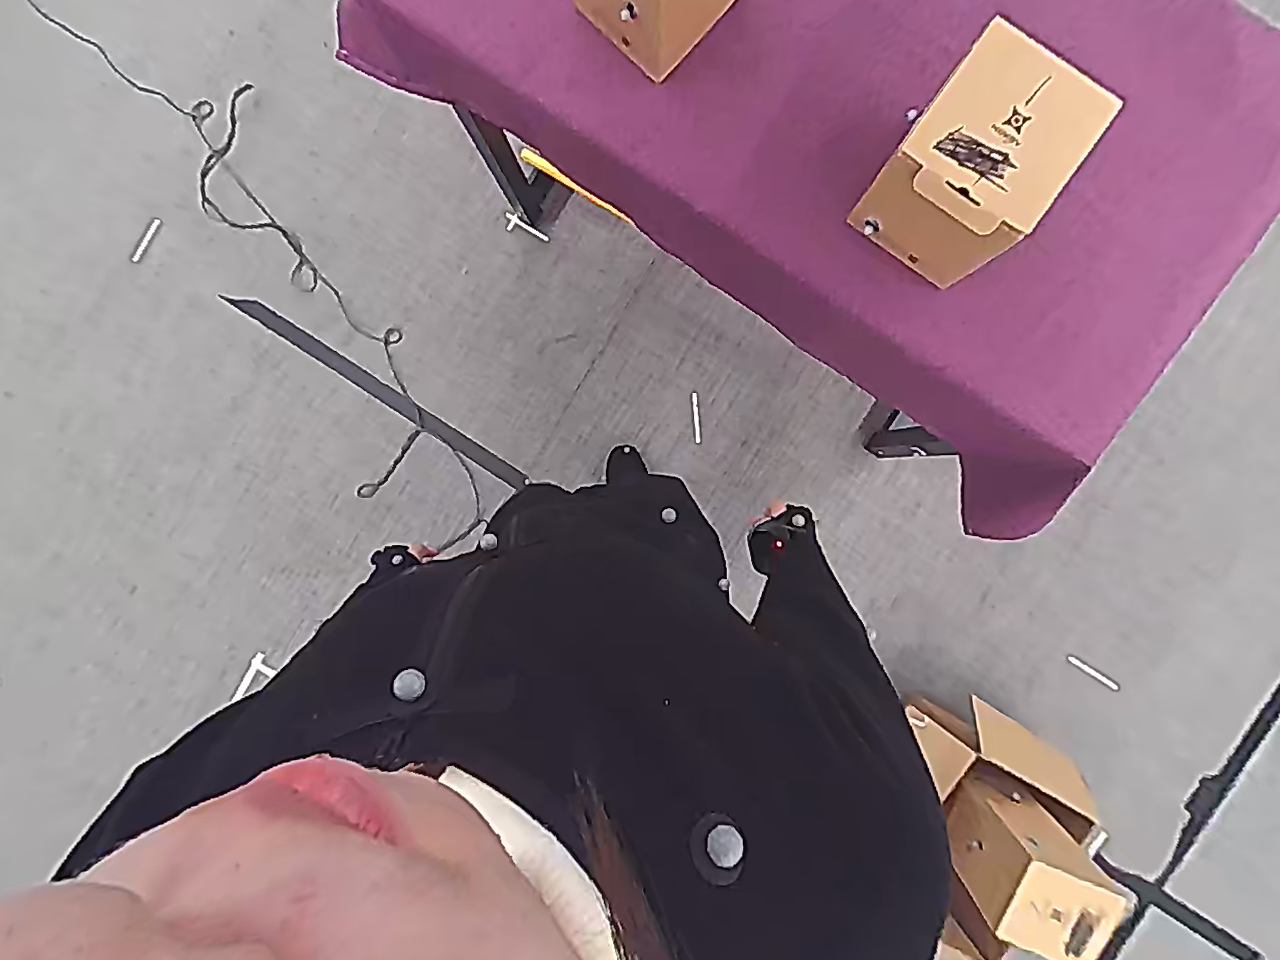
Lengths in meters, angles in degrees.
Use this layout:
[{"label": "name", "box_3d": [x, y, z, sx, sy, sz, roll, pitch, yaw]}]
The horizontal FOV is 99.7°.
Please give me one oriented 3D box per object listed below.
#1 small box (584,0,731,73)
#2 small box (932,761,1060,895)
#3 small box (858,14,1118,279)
[{"label": "small box", "box_3d": [0.022, -0.661, 0.657, 0.168, 0.176, 0.179, 44, 93, -1]}, {"label": "small box", "box_3d": [0.791, 0.774, 1.222, 0.168, 0.176, 0.179, 11, 96, 4]}, {"label": "small box", "box_3d": [0.391, -0.378, 0.651, 0.168, 0.176, 0.179, 36, 92, 1]}]
